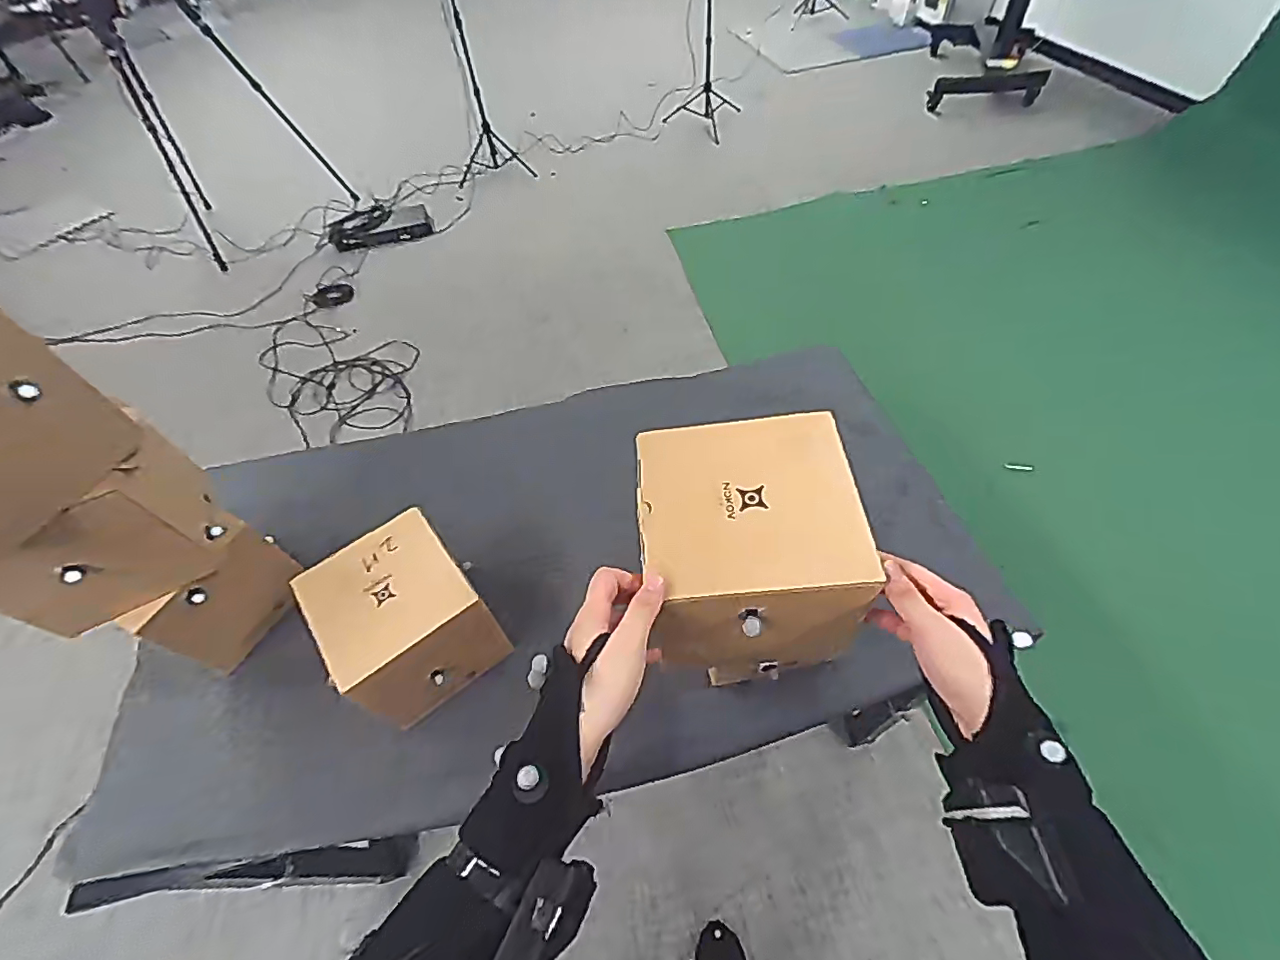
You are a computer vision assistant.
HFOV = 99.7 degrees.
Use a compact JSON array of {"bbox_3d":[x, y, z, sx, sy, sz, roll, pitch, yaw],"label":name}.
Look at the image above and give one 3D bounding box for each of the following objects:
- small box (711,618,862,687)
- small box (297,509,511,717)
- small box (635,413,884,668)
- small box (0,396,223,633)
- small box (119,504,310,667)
[{"bbox_3d":[0.153,0.137,0.685,0.168,0.176,0.179,-13,53,-3],"label":"small box"},{"bbox_3d":[-0.290,0.178,0.695,0.168,0.176,0.179,-34,57,-19],"label":"small box"},{"bbox_3d":[0.094,0.063,0.493,0.179,0.176,0.168,-7,55,6],"label":"small box"},{"bbox_3d":[-0.620,0.043,0.620,0.179,0.176,0.168,-29,57,-15],"label":"small box"},{"bbox_3d":[-0.610,0.136,0.755,0.179,0.176,0.168,20,58,18],"label":"small box"}]
